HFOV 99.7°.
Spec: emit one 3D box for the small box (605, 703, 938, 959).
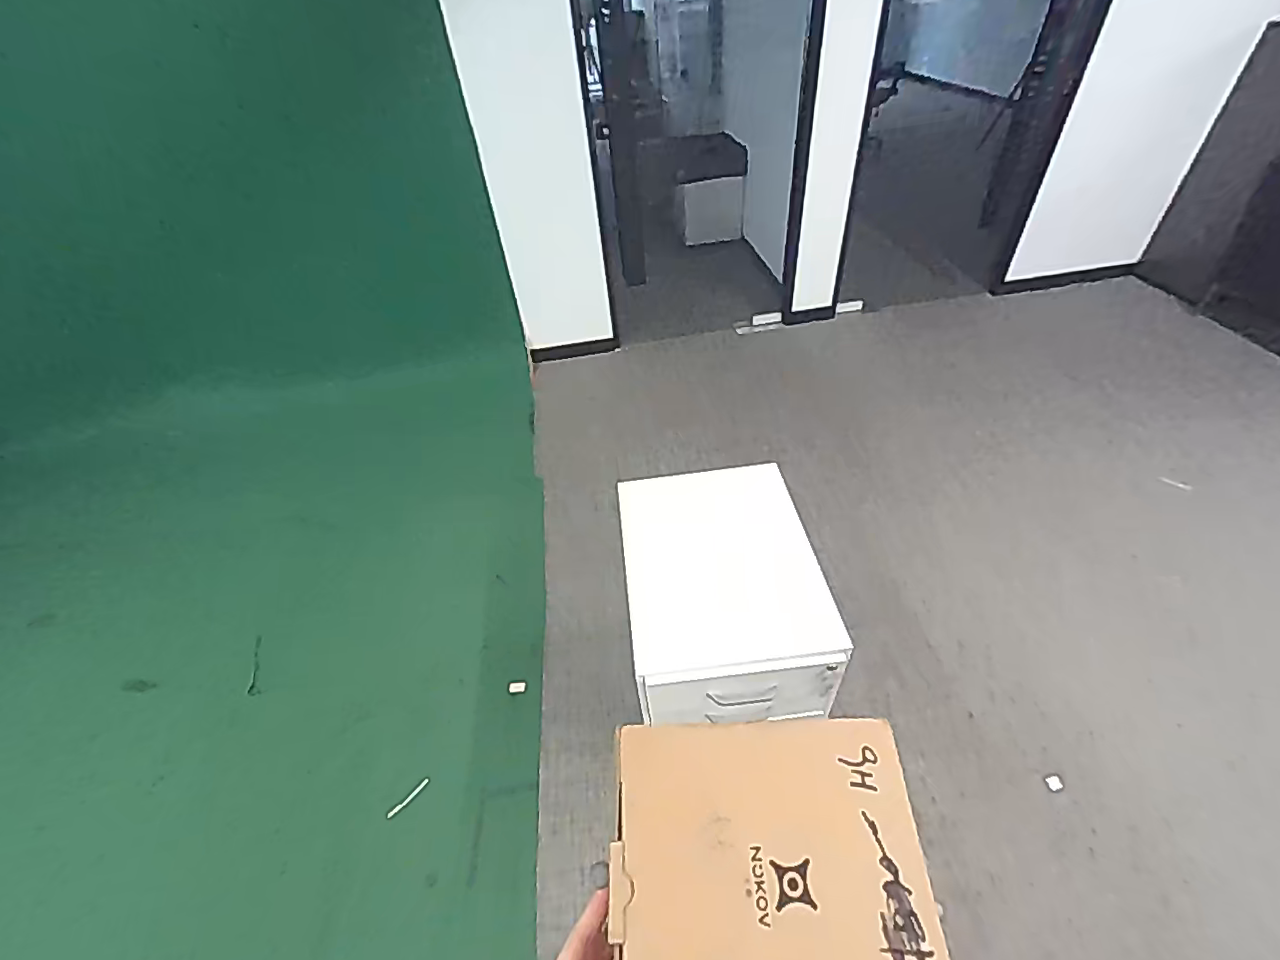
[{"bbox_3d":[0.067,0.255,0.372,0.179,0.176,0.168,0,59,-3],"label":"small box"}]
